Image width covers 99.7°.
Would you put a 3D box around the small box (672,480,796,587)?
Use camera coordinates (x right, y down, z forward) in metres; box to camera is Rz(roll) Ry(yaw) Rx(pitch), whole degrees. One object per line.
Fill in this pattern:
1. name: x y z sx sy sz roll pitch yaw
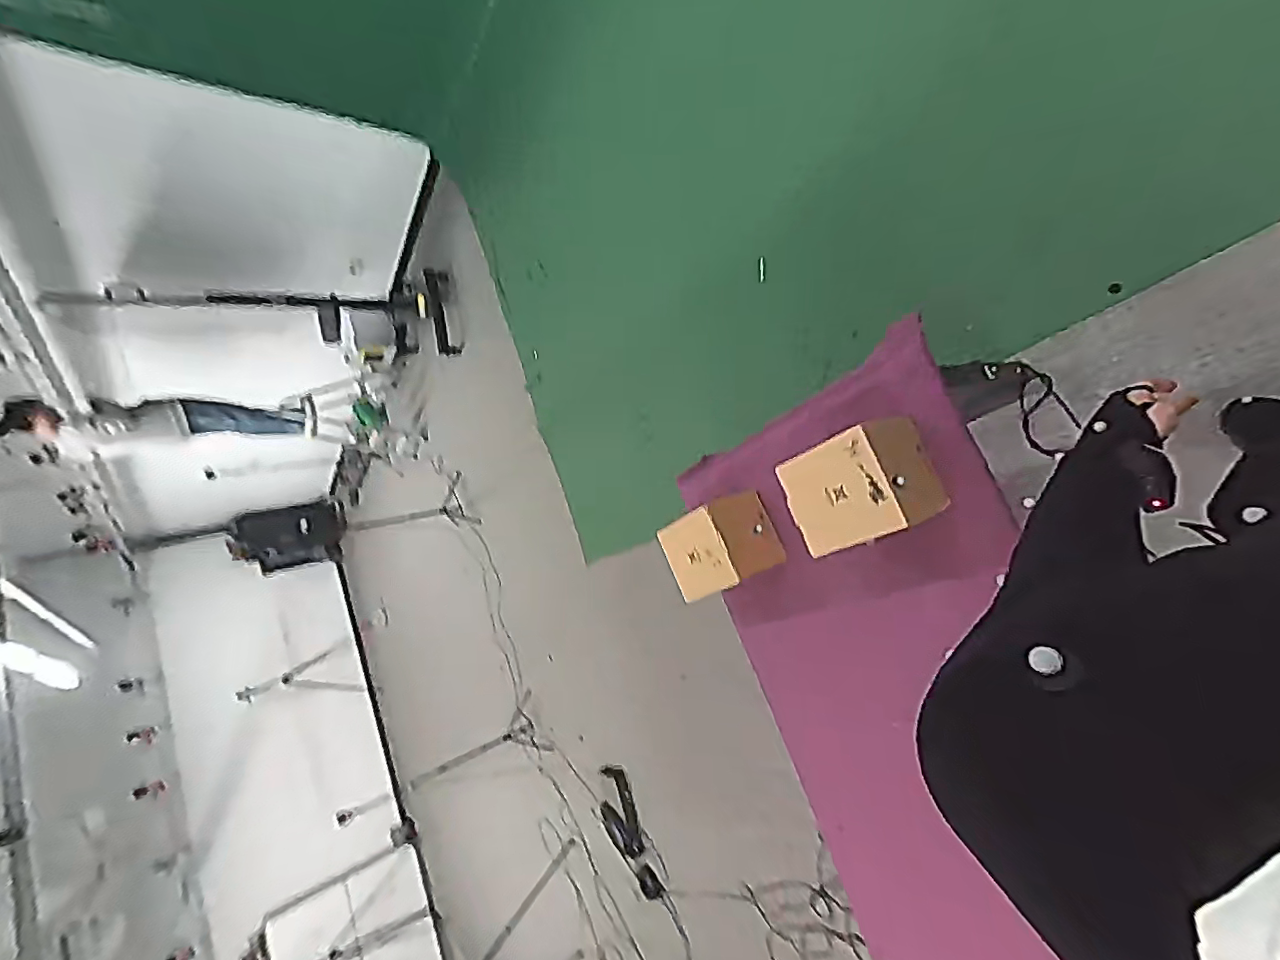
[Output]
1. small box: 0.208 0.117 1.198 0.179 0.176 0.168 -37 73 49

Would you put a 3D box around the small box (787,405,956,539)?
1. small box: 0.394 -0.014 0.925 0.179 0.176 0.168 -34 74 50
